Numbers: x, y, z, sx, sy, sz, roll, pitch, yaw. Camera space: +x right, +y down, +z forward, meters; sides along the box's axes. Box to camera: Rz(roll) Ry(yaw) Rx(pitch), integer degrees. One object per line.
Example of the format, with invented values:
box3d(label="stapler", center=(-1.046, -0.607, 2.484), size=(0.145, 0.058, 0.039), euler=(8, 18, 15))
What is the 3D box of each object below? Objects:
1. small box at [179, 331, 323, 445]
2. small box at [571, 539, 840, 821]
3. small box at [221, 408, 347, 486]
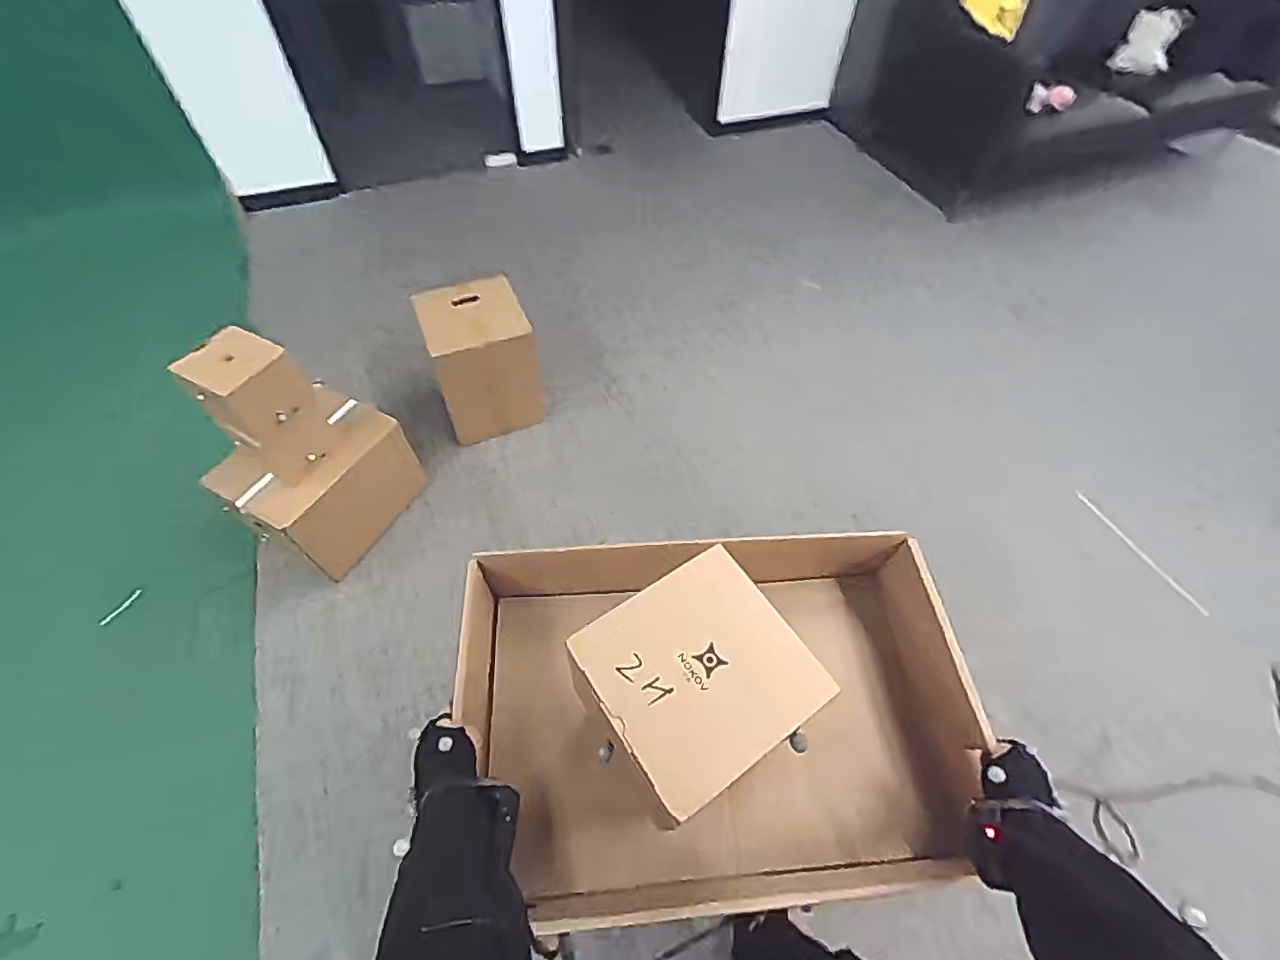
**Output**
box3d(label="small box", center=(-0.887, -0.209, 1.250), size=(0.179, 0.176, 0.168), euler=(25, 57, 15))
box3d(label="small box", center=(0.049, 0.194, 0.521), size=(0.179, 0.176, 0.168), euler=(-28, 61, -21))
box3d(label="small box", center=(-0.898, -0.112, 1.380), size=(0.179, 0.176, 0.168), euler=(27, 58, 17))
